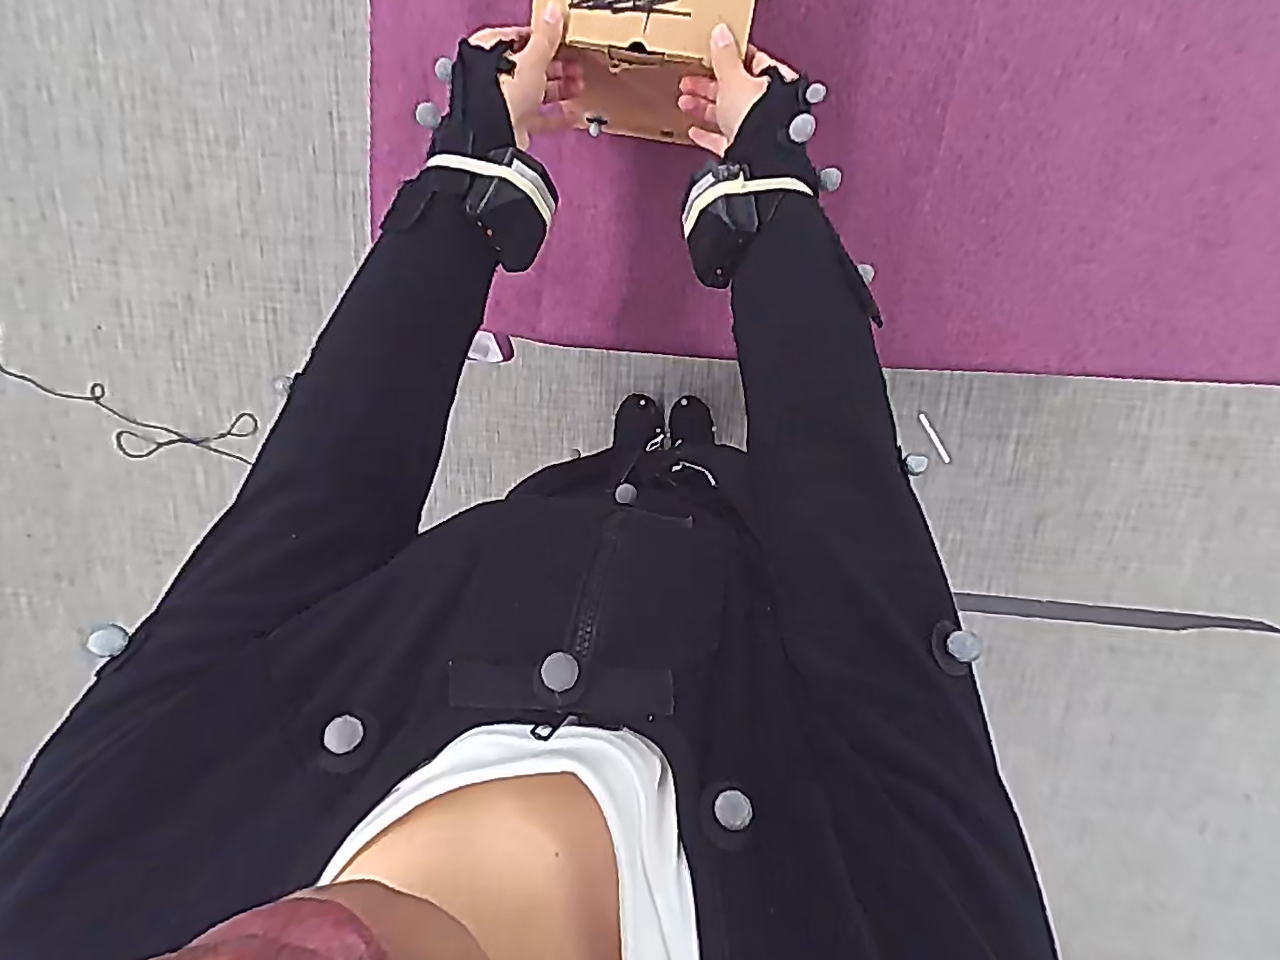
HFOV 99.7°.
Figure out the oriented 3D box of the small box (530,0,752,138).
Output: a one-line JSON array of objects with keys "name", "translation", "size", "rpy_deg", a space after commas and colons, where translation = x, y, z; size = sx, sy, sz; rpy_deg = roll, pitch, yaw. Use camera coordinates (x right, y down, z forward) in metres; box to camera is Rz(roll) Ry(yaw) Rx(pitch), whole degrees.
[{"name": "small box", "translation": [0.015, -0.427, 0.465], "size": [0.168, 0.176, 0.179], "rpy_deg": [9, 102, 2]}]
